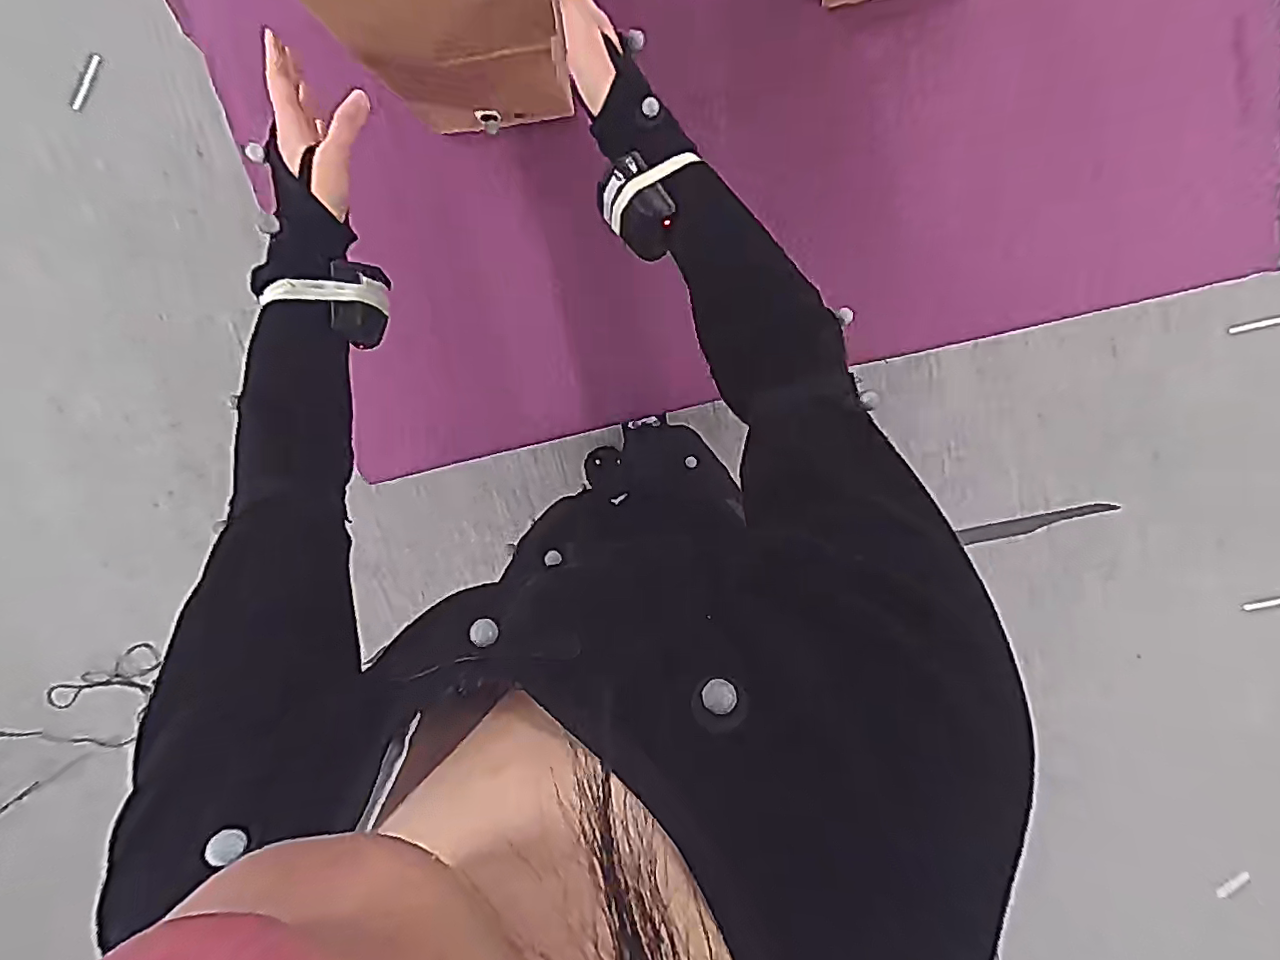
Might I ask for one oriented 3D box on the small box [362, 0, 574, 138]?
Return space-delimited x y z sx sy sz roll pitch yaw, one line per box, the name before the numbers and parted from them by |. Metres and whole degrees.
small box | -0.170 -0.484 0.550 0.168 0.176 0.179 -7 105 4
